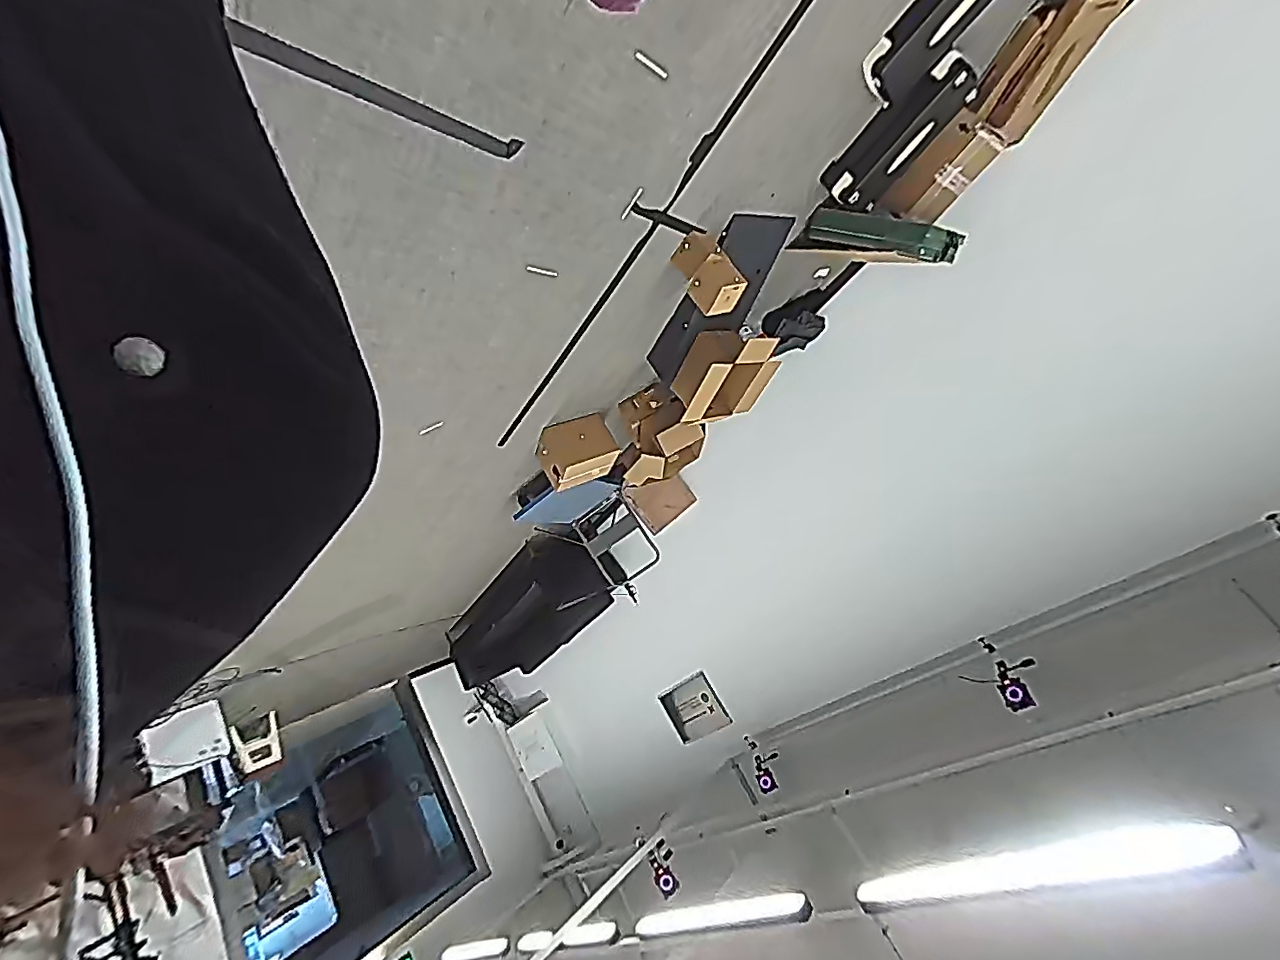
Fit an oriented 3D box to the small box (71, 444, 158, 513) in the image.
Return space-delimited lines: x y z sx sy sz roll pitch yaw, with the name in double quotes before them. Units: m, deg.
"small box" -1.782 -0.010 1.828 0.168 0.176 0.179 -42 162 28
